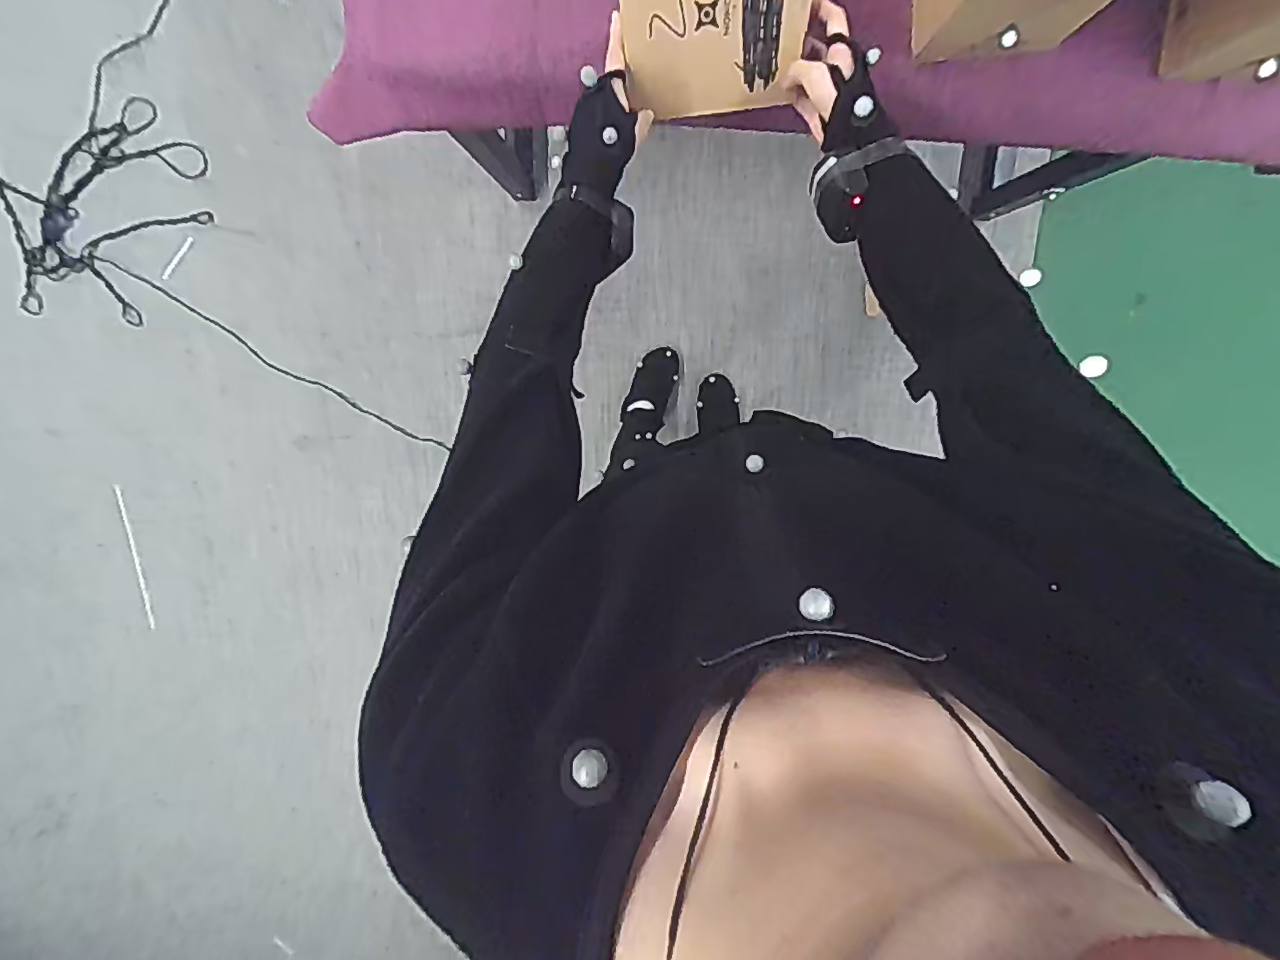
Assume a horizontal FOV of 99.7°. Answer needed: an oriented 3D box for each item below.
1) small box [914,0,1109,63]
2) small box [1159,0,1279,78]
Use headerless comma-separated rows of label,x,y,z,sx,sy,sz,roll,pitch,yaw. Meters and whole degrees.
small box,0.393,-0.565,0.539,0.168,0.176,0.179,-4,103,4
small box,0.688,-0.530,0.533,0.179,0.176,0.168,-1,103,3
